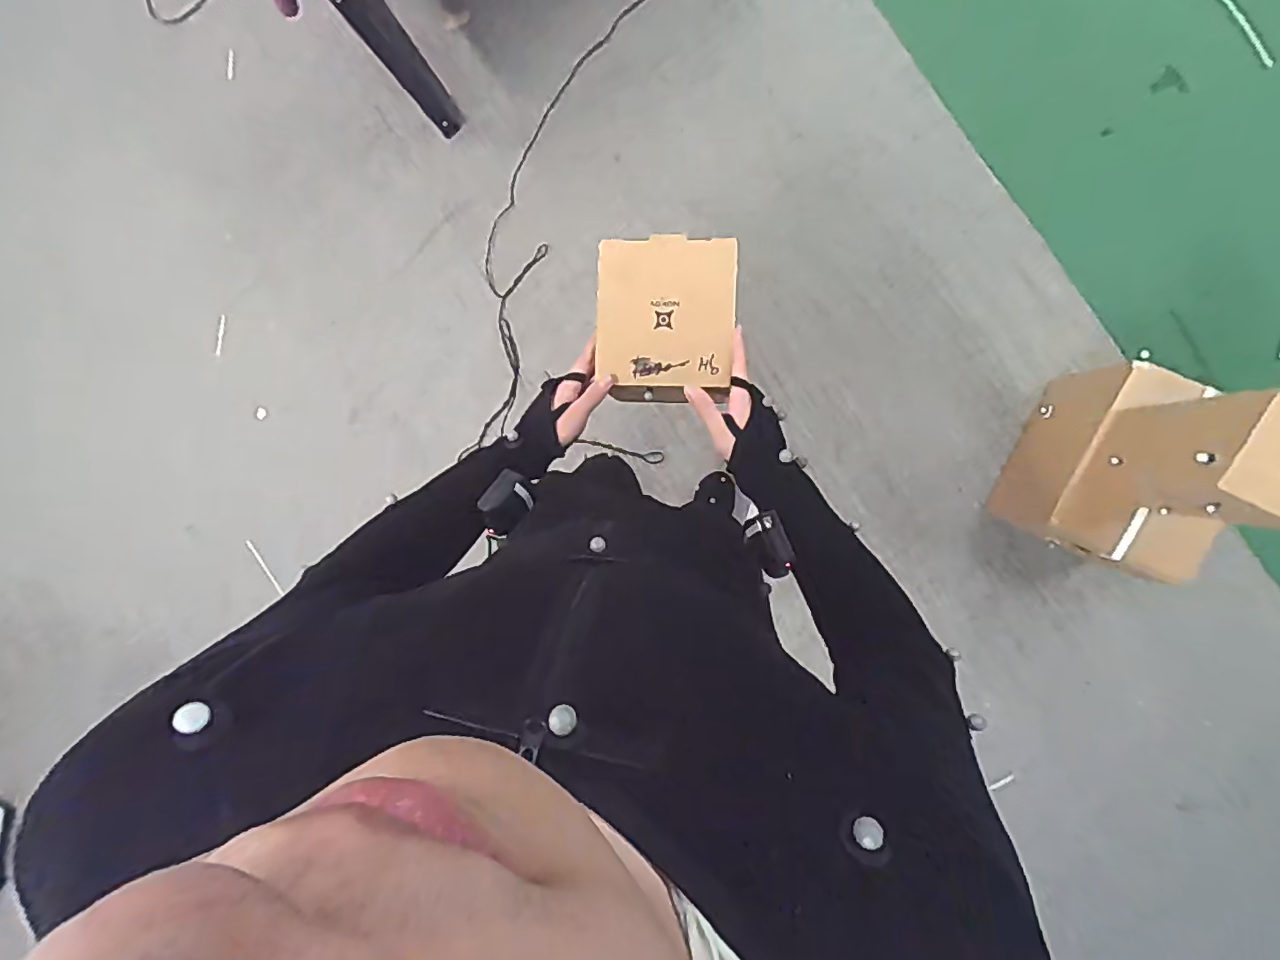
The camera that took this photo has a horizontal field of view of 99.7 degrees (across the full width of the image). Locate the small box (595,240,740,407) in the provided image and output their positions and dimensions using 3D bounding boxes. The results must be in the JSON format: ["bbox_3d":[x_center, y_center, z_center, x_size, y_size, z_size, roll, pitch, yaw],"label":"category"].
[{"bbox_3d":[0.039,-0.194,0.712,0.168,0.176,0.179,2,92,7],"label":"small box"}]

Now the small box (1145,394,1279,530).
[{"bbox_3d":[1.029,-0.025,0.917,0.168,0.176,0.179,28,96,5],"label":"small box"}]

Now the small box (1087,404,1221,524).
[{"bbox_3d":[1.053,-0.033,1.080,0.168,0.176,0.179,26,96,6],"label":"small box"}]
